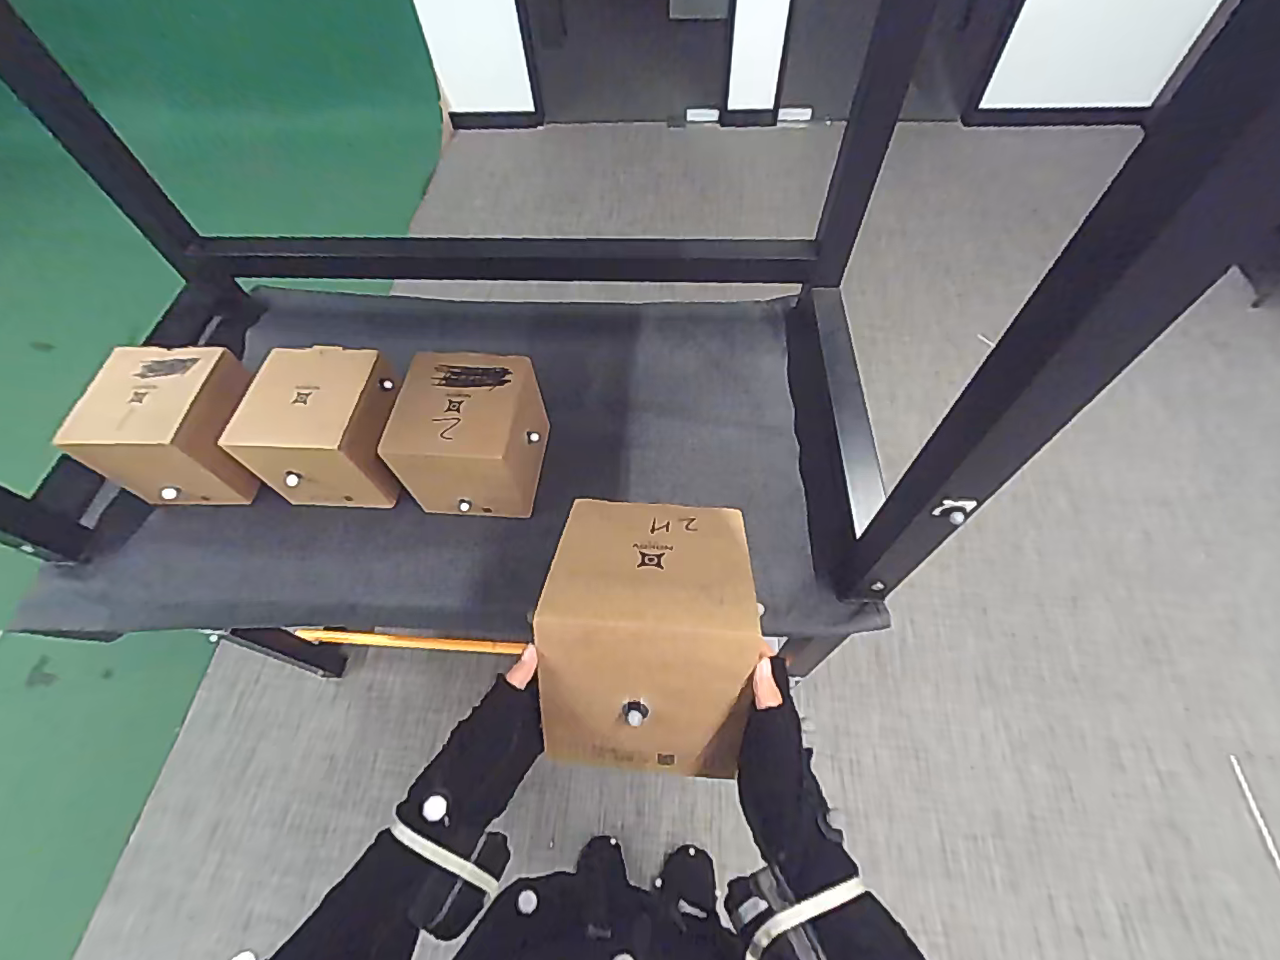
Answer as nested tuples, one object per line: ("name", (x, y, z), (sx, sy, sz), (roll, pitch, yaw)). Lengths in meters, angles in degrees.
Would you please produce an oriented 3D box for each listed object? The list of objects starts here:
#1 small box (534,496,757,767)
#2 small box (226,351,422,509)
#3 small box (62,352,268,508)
("small box", (0.010, 0.132, 0.497), (0.168, 0.176, 0.179), (4, 28, 3))
("small box", (-0.452, -0.070, 0.811), (0.168, 0.176, 0.179), (2, 58, 4))
("small box", (-0.678, -0.074, 0.822), (0.168, 0.176, 0.179), (0, 59, 3))
